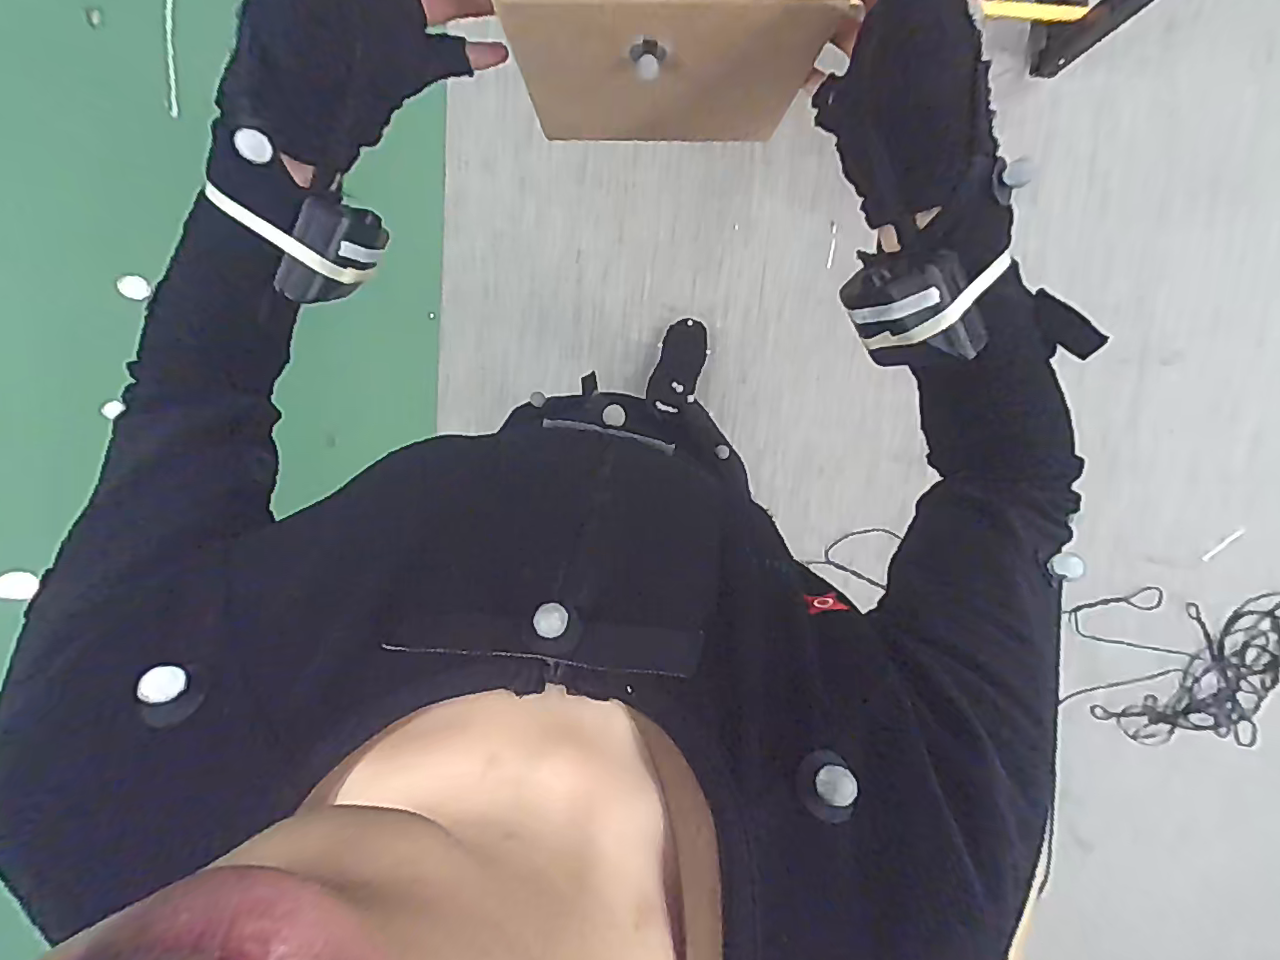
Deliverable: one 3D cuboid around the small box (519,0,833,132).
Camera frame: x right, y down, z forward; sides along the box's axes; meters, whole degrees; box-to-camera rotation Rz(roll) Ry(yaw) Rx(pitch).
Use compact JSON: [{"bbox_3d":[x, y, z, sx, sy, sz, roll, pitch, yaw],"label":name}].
[{"bbox_3d":[0.018,-0.335,0.327,0.179,0.176,0.168,0,102,-1],"label":"small box"}]
